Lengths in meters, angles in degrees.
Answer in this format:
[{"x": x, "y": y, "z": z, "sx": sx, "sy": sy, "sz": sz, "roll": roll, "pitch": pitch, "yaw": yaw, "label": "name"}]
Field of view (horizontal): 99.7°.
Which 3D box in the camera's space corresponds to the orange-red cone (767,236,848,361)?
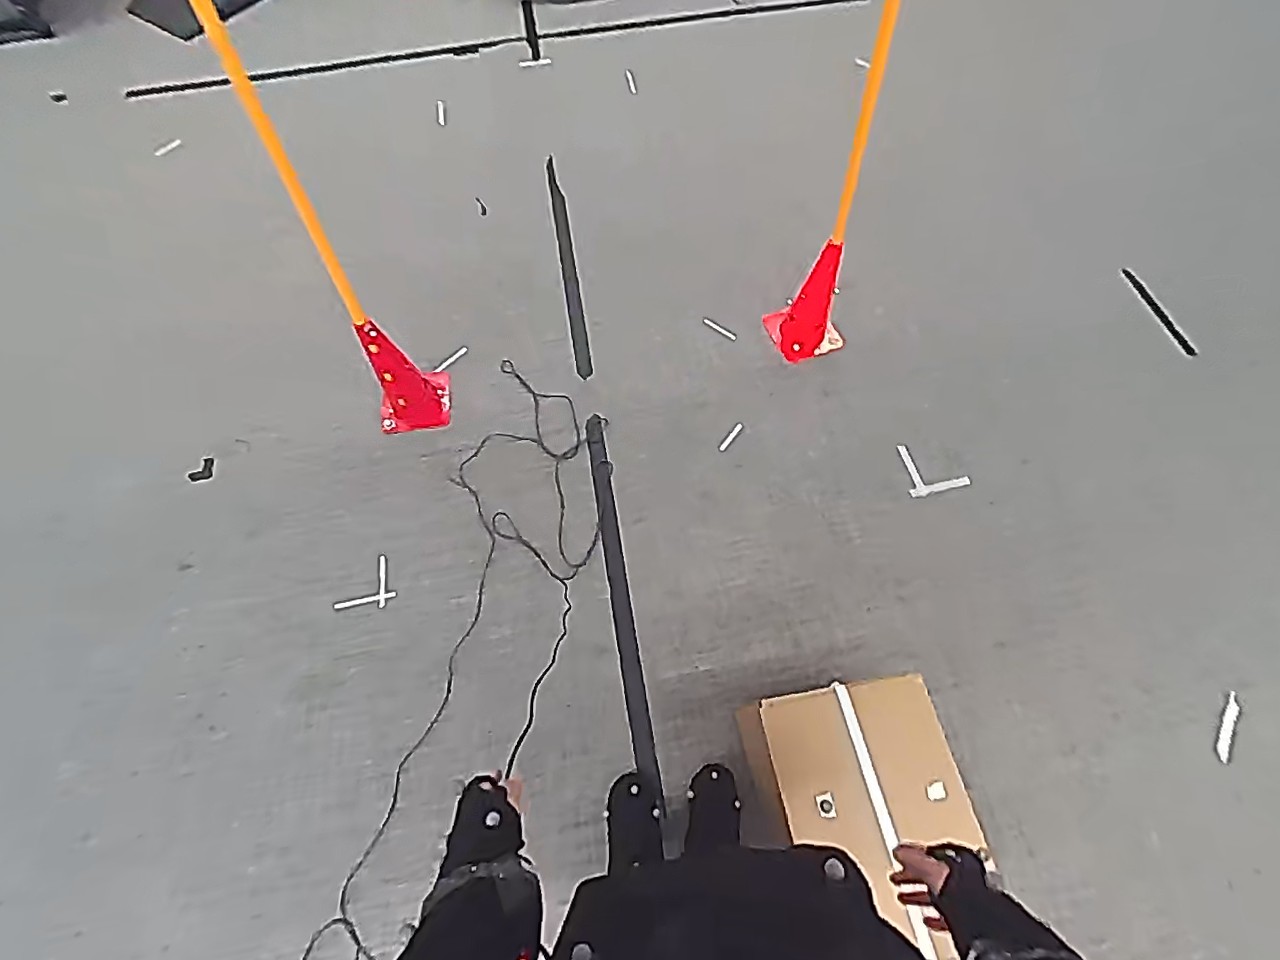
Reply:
[{"x": 0.516, "y": -0.538, "z": 1.542, "sx": 0.199, "sy": 0.360, "sz": 0.198, "roll": -17, "pitch": 67, "yaw": -8, "label": "orange-red cone"}]
